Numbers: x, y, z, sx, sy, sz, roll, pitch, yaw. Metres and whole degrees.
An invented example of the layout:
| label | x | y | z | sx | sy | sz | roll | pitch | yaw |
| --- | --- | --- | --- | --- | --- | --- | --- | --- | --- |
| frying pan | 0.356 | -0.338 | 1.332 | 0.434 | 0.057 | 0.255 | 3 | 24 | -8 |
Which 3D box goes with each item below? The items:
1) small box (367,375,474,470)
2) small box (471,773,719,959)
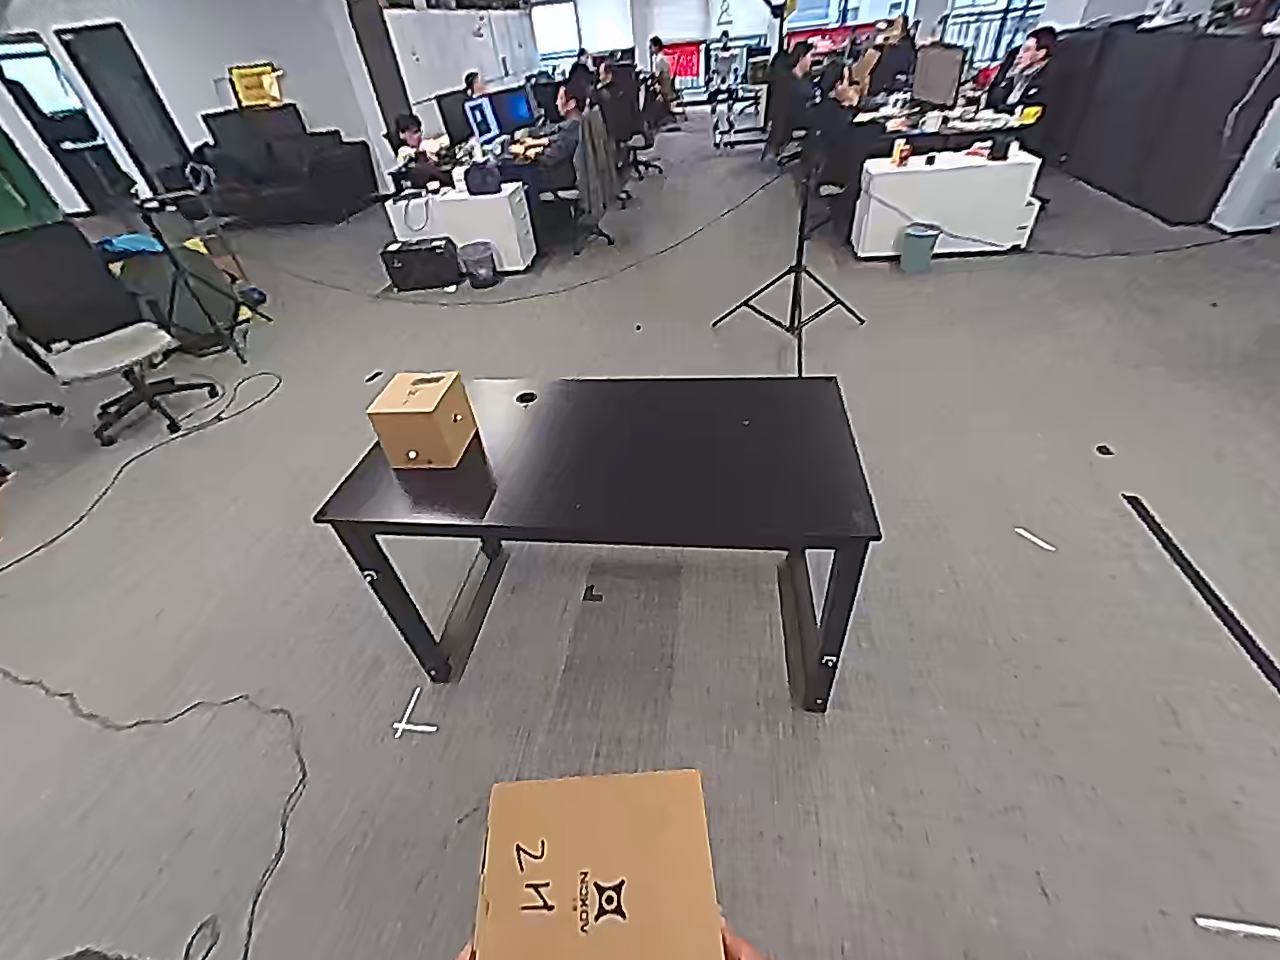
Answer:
| label | x | y | z | sx | sy | sz | roll | pitch | yaw |
| --- | --- | --- | --- | --- | --- | --- | --- | --- | --- |
| small box | -0.527 | -0.143 | 1.331 | 0.168 | 0.176 | 0.179 | 0 | 42 | 7 |
| small box | -0.035 | 0.366 | 0.458 | 0.179 | 0.176 | 0.168 | -3 | 46 | -3 |
